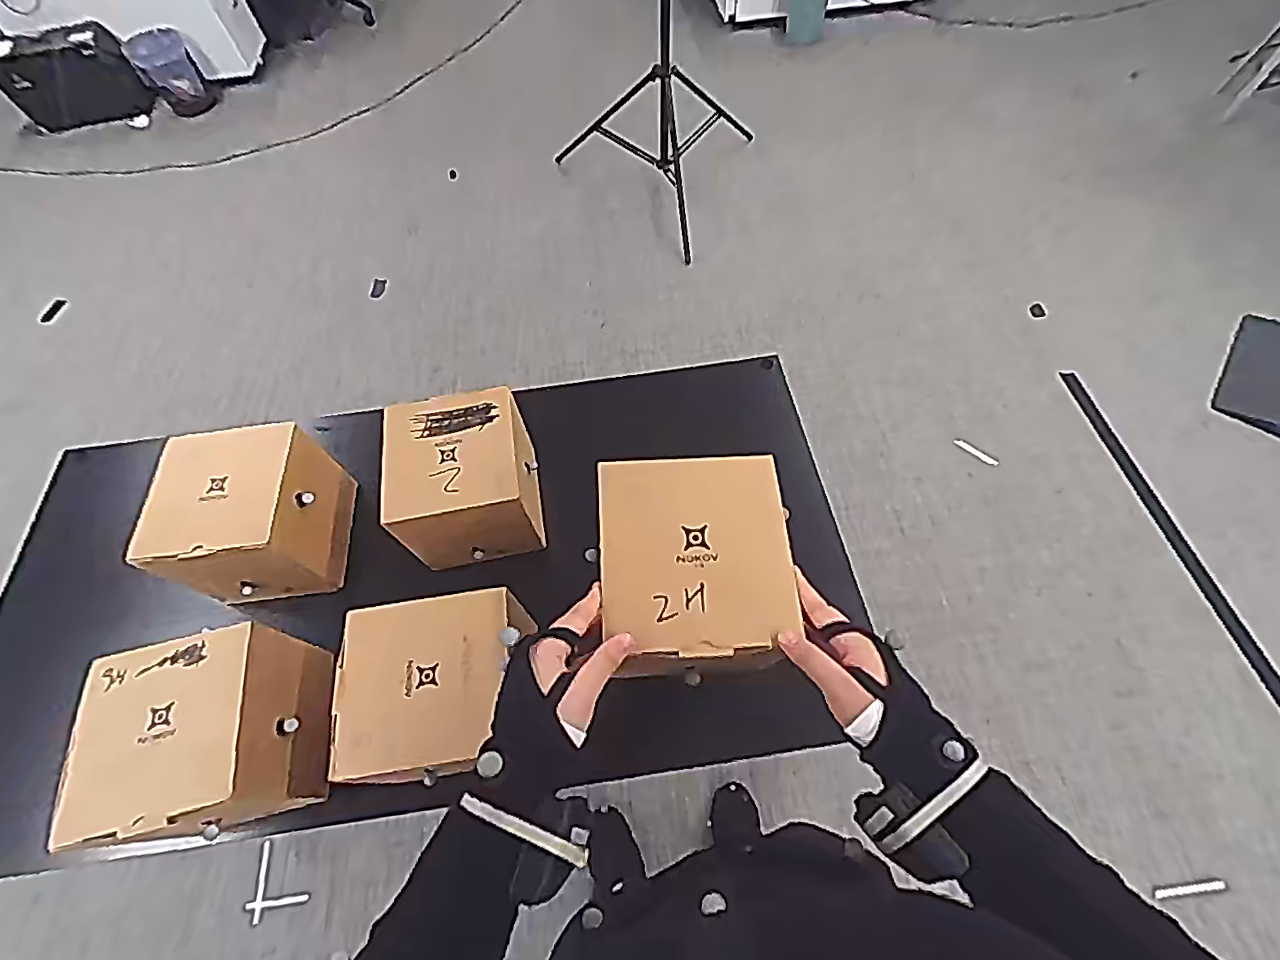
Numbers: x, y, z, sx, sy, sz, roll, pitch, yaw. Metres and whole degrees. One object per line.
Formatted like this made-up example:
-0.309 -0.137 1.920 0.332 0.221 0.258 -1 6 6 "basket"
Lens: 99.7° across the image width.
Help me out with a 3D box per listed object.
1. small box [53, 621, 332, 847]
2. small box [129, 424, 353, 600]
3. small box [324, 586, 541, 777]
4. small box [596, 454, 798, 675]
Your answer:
-0.473 0.280 0.607 0.168 0.176 0.179 -14 61 -5 "small box"
-0.520 0.048 0.739 0.168 0.176 0.179 -7 61 -1 "small box"
-0.219 0.237 0.620 0.179 0.176 0.168 -8 61 -2 "small box"
0.042 0.090 0.541 0.168 0.176 0.179 -2 64 -1 "small box"
